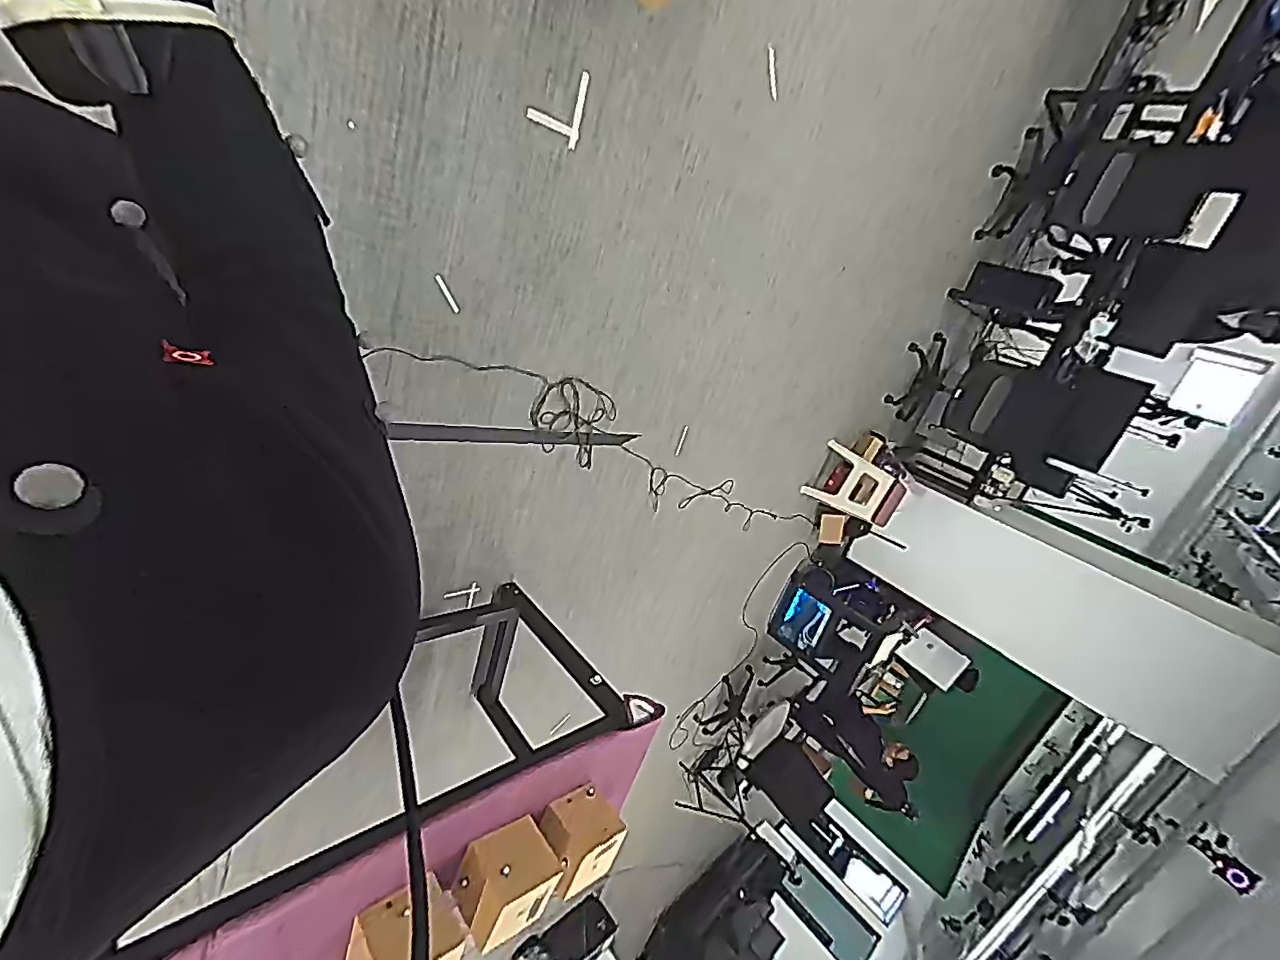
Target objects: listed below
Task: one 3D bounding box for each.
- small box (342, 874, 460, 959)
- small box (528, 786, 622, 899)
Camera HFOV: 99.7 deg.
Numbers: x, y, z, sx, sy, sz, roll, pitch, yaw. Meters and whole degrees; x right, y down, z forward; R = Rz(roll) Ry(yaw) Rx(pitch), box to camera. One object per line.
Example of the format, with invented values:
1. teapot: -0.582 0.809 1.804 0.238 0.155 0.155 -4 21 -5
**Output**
1. small box: -0.509 0.992 1.139 0.168 0.176 0.179 -3 119 -47
2. small box: -0.185 0.983 1.490 0.168 0.176 0.179 5 113 -49
